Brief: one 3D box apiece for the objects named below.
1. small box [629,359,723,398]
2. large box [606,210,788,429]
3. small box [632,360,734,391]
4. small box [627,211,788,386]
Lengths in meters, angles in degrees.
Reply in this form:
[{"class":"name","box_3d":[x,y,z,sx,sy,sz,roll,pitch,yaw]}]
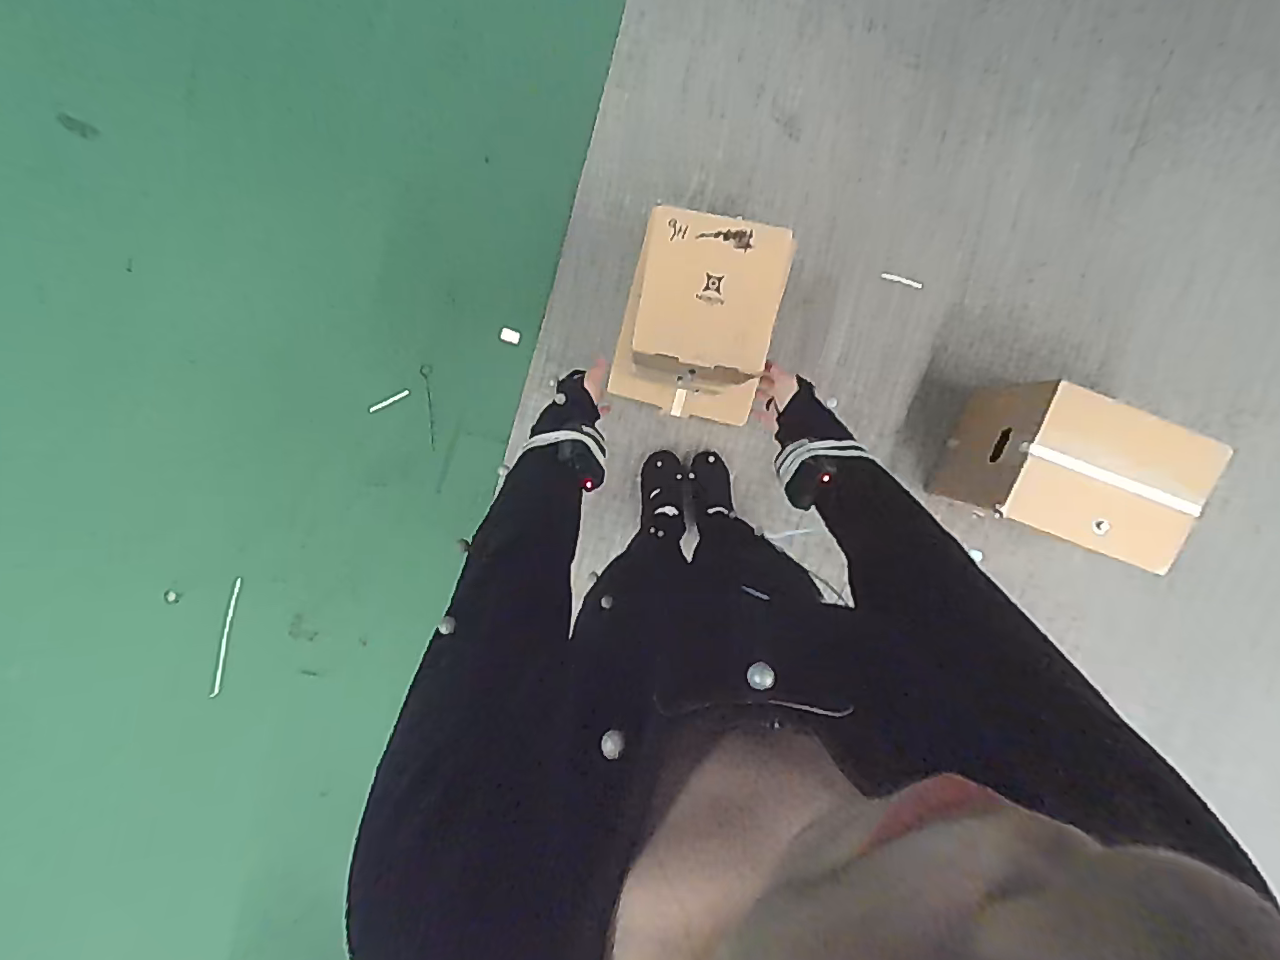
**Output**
[{"class":"small box","box_3d":[0.084,-0.259,1.057,0.179,0.176,0.168,14,96,0]},{"class":"large box","box_3d":[0.122,-0.348,1.292,0.320,0.320,0.408,15,95,-1]},{"class":"small box","box_3d":[0.083,-0.248,0.894,0.168,0.176,0.179,9,95,-1]},{"class":"small box","box_3d":[0.083,-0.229,0.730,0.168,0.176,0.179,11,96,-1]}]
